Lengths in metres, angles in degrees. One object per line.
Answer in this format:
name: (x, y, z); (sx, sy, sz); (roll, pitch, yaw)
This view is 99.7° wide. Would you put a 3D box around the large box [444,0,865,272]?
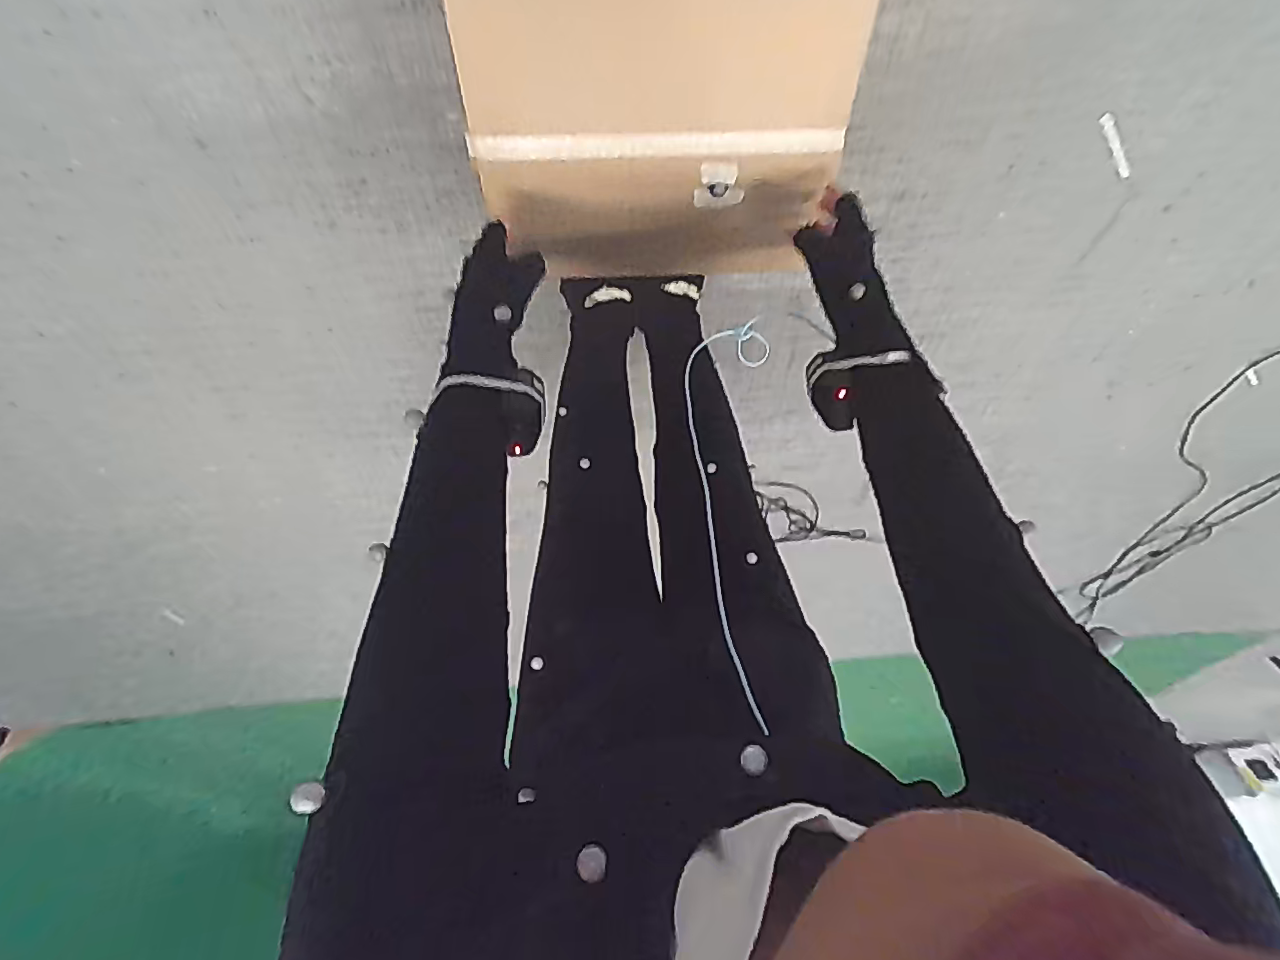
large box: (0.008, -0.492, 0.684); (0.408, 0.320, 0.320); (-3, 140, -2)
